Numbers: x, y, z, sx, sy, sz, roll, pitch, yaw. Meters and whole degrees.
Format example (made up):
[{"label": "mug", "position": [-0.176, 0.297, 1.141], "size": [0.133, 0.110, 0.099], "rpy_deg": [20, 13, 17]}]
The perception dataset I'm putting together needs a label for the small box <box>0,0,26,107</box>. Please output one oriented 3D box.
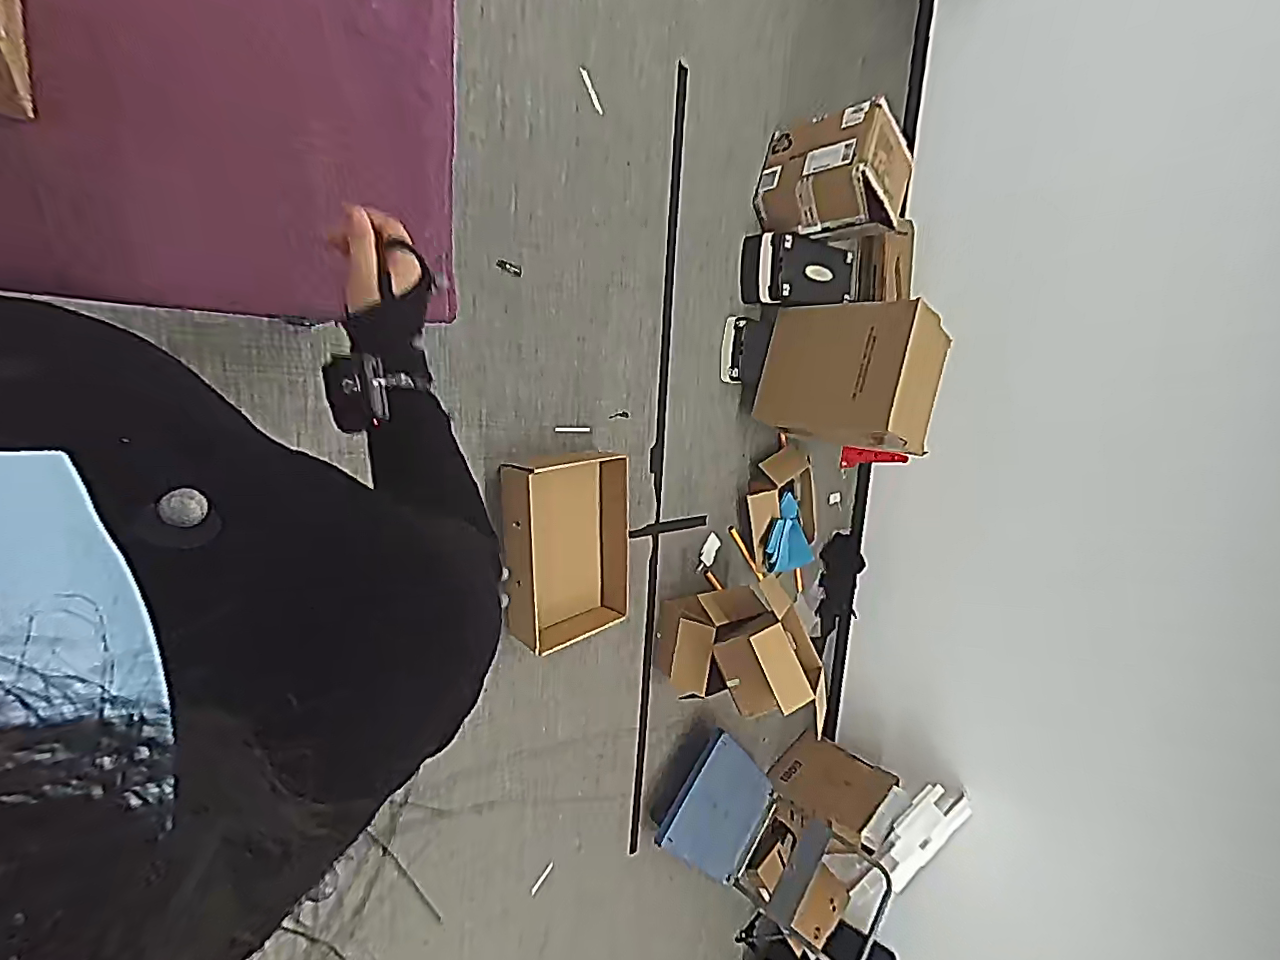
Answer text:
[{"label": "small box", "position": [-0.560, -0.407, 0.373], "size": [0.168, 0.176, 0.179], "rpy_deg": [-5, 103, -44]}]
